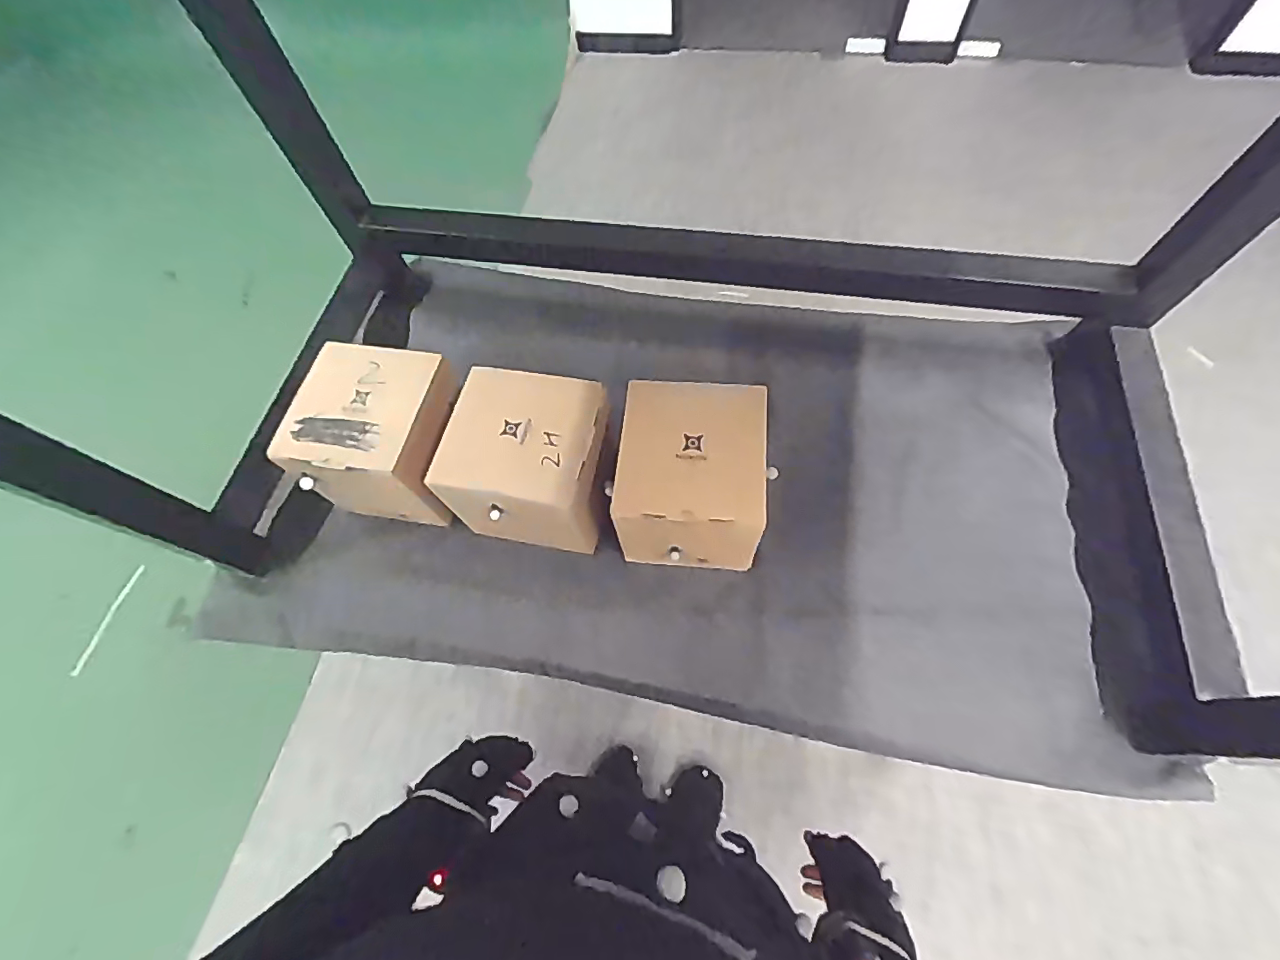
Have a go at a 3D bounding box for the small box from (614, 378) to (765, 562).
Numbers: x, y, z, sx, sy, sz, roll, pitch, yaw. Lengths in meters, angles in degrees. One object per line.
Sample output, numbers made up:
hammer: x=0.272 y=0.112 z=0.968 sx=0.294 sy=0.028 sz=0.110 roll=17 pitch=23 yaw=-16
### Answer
small box: x=0.065 y=-0.008 z=0.690 sx=0.168 sy=0.176 sz=0.179 roll=3 pitch=66 yaw=6
